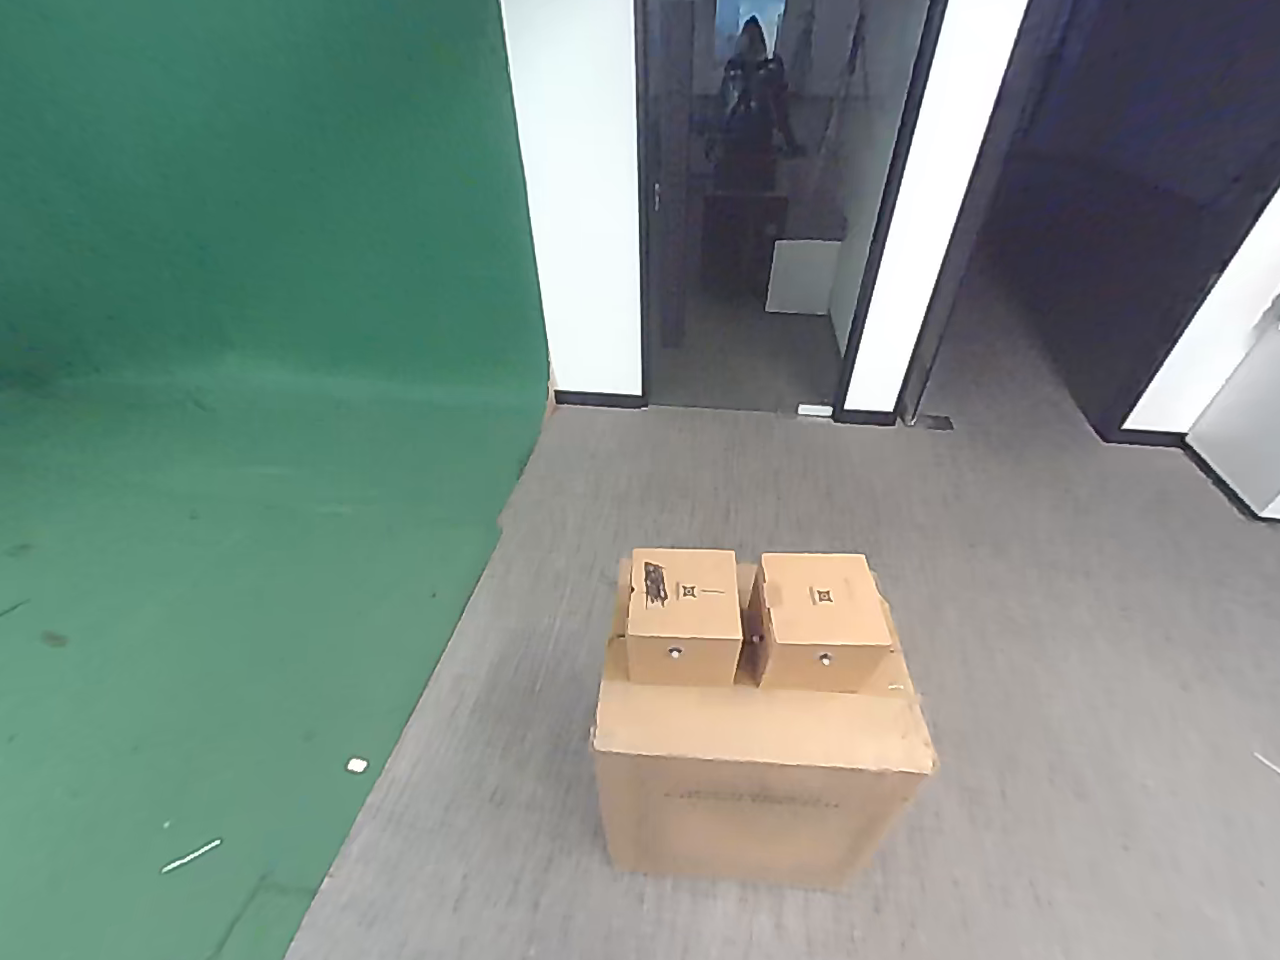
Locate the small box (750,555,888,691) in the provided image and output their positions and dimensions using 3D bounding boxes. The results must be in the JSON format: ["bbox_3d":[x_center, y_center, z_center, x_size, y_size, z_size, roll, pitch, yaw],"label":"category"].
[{"bbox_3d":[0.285,0.243,0.912,0.179,0.176,0.168,1,46,1],"label":"small box"}]

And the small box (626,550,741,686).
[{"bbox_3d":[0.071,0.237,0.922,0.179,0.176,0.168,2,46,2],"label":"small box"}]
